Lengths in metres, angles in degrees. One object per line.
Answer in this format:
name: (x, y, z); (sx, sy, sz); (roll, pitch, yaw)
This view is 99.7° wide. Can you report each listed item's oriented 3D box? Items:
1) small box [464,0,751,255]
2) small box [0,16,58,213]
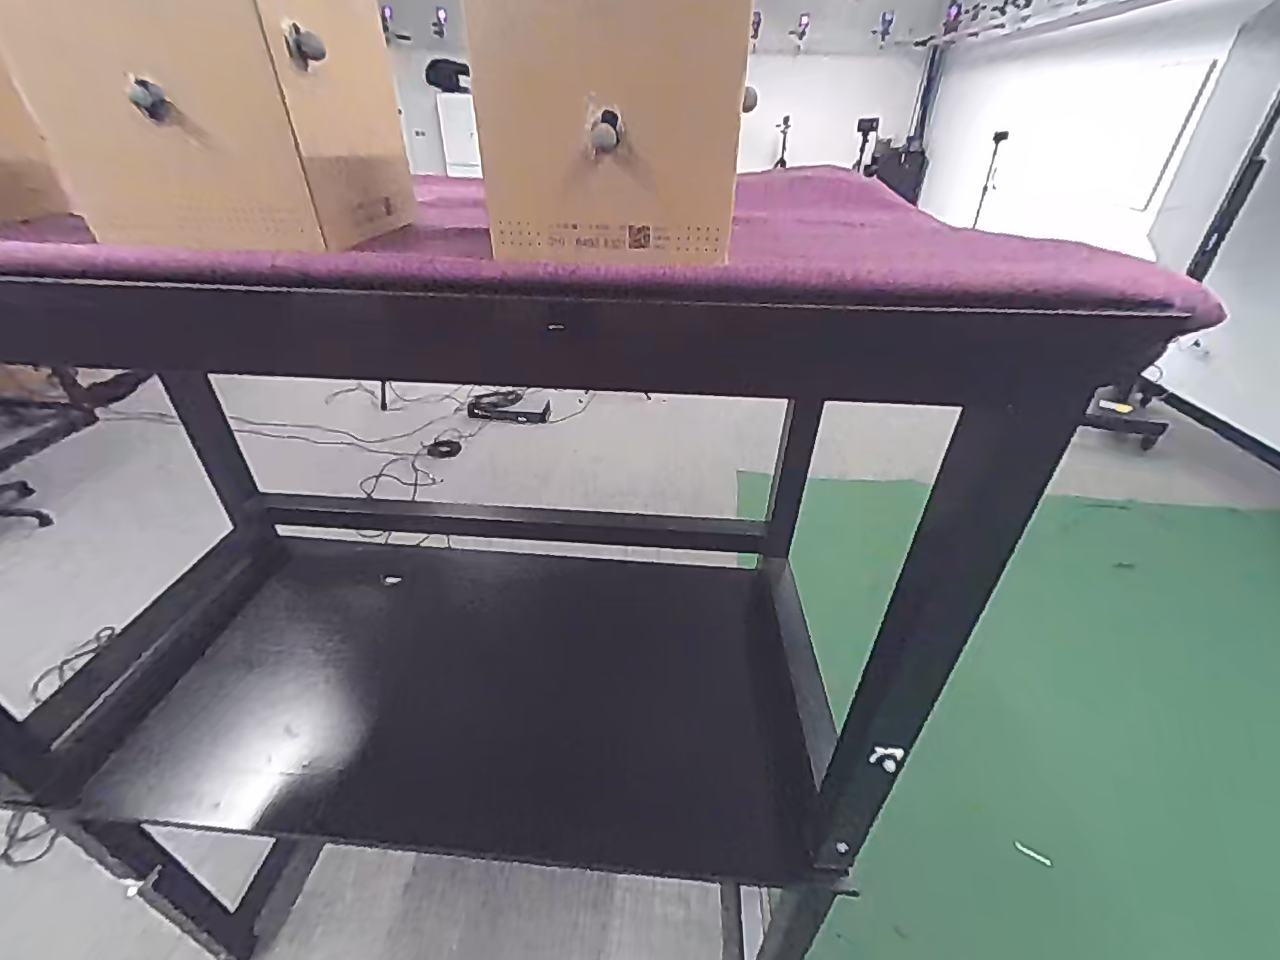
small box: (-0.010, -0.271, 0.398); (0.168, 0.176, 0.179); (4, 35, 4)
small box: (-0.626, -0.298, 0.417); (0.168, 0.176, 0.179); (2, 33, -1)
